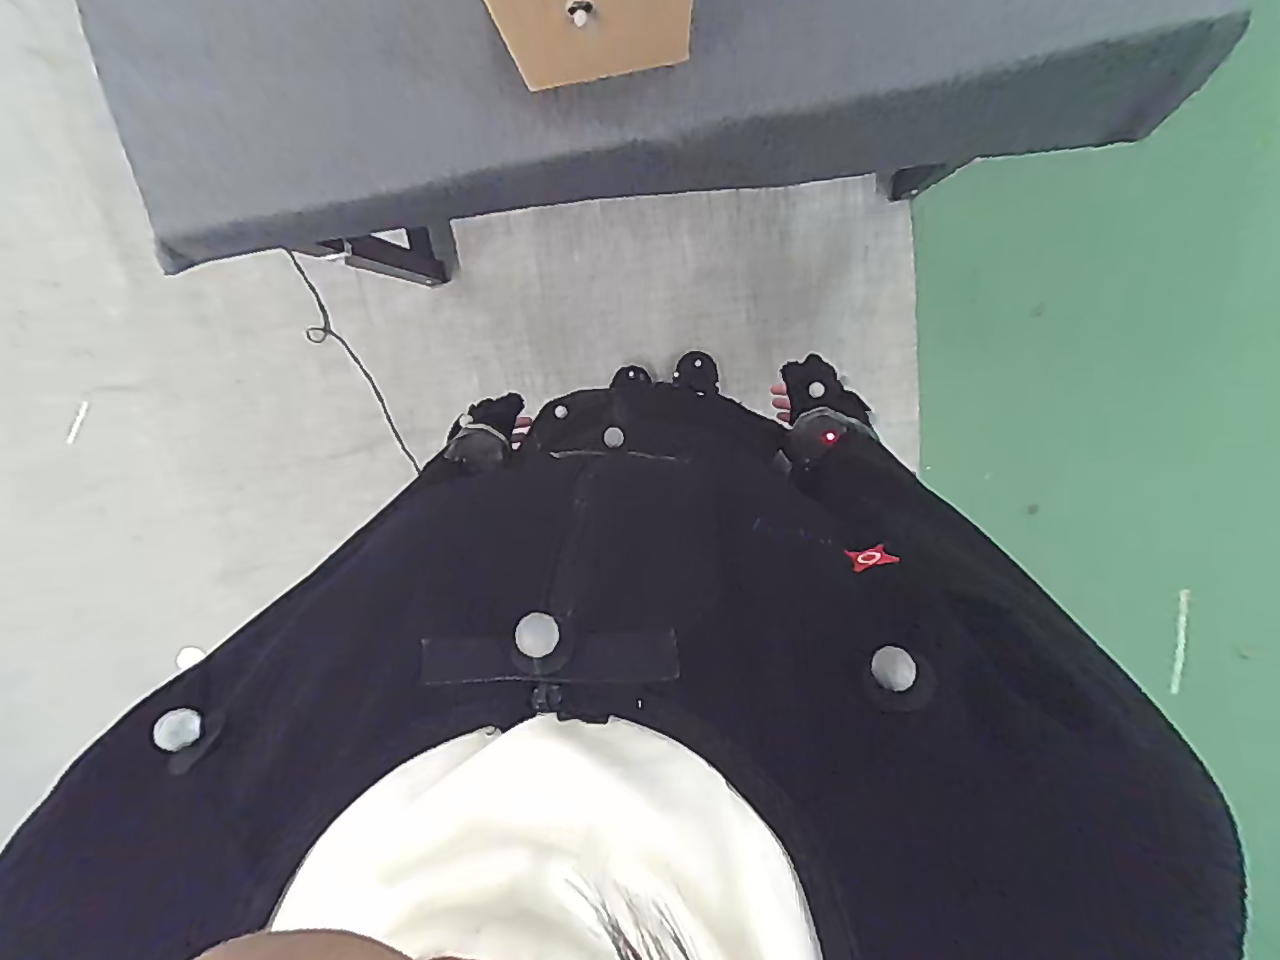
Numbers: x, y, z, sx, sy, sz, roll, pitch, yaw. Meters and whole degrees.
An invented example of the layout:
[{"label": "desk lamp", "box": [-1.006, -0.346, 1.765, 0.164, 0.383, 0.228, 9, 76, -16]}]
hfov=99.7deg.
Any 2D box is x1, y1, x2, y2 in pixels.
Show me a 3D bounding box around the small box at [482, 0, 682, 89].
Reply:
[{"label": "small box", "box": [-0.054, -0.505, 0.508, 0.179, 0.176, 0.168, -8, 103, 4]}]
